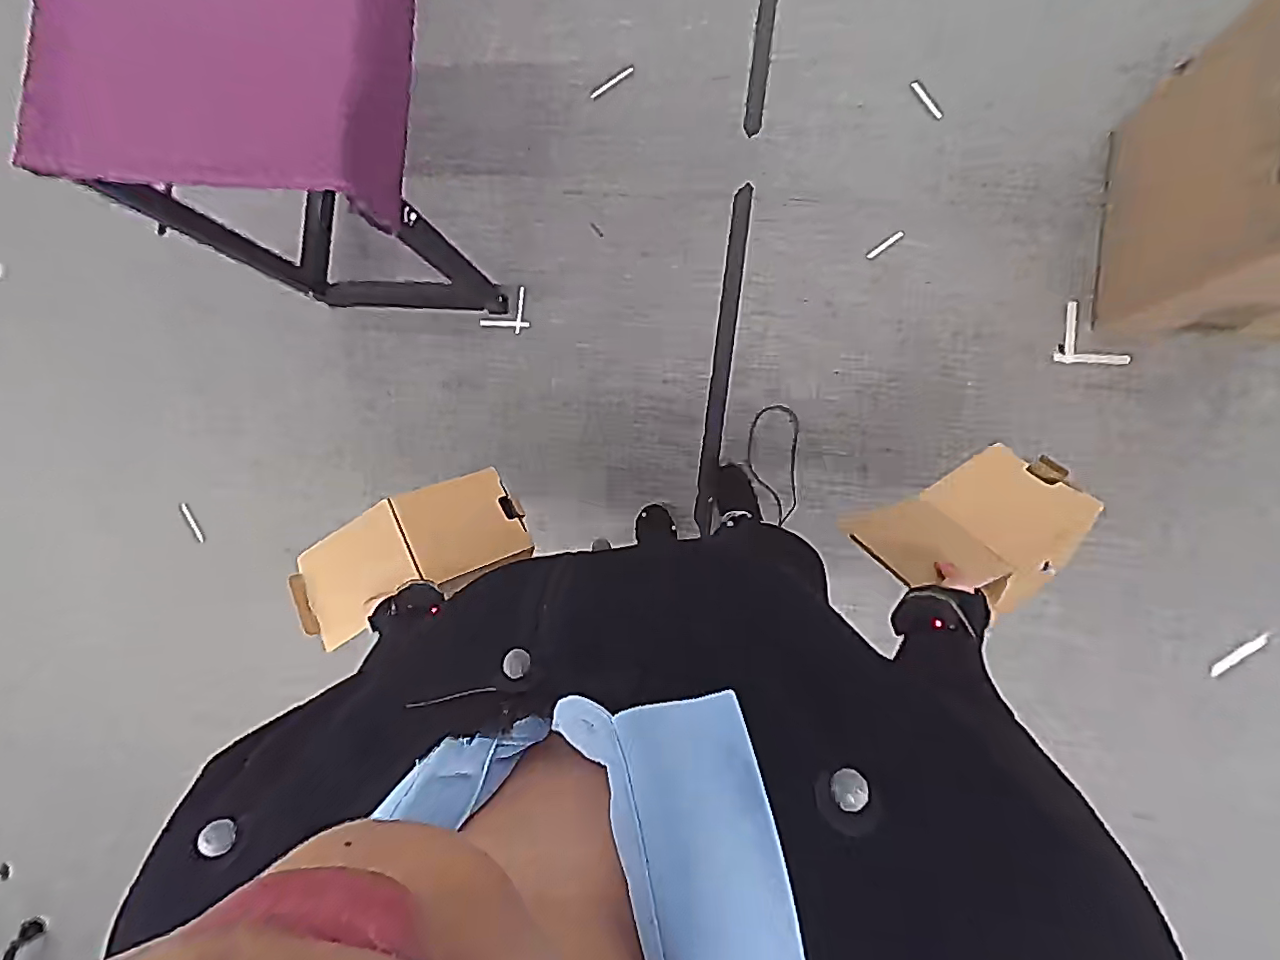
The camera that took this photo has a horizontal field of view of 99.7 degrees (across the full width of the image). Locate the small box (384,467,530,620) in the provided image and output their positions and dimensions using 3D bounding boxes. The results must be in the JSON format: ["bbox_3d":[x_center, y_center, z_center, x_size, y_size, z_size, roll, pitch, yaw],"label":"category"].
[{"bbox_3d":[-0.304,0.109,0.898,0.179,0.176,0.168,-19,68,-31],"label":"small box"}]
